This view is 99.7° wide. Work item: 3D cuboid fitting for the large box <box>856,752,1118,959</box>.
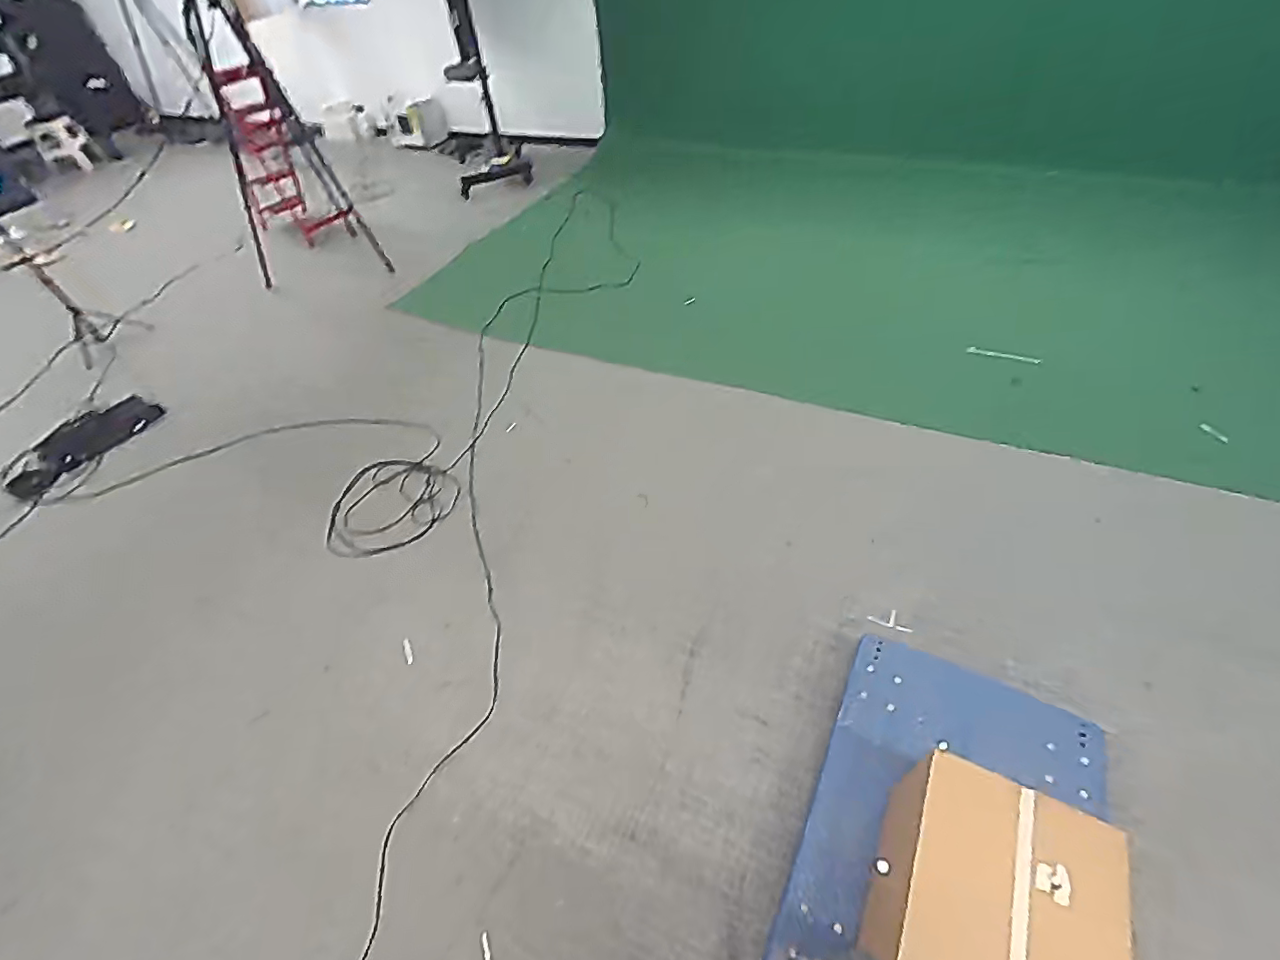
[{"bbox_3d":[0.614,0.810,0.995,0.320,0.320,0.408,19,51,21],"label":"large box"}]
